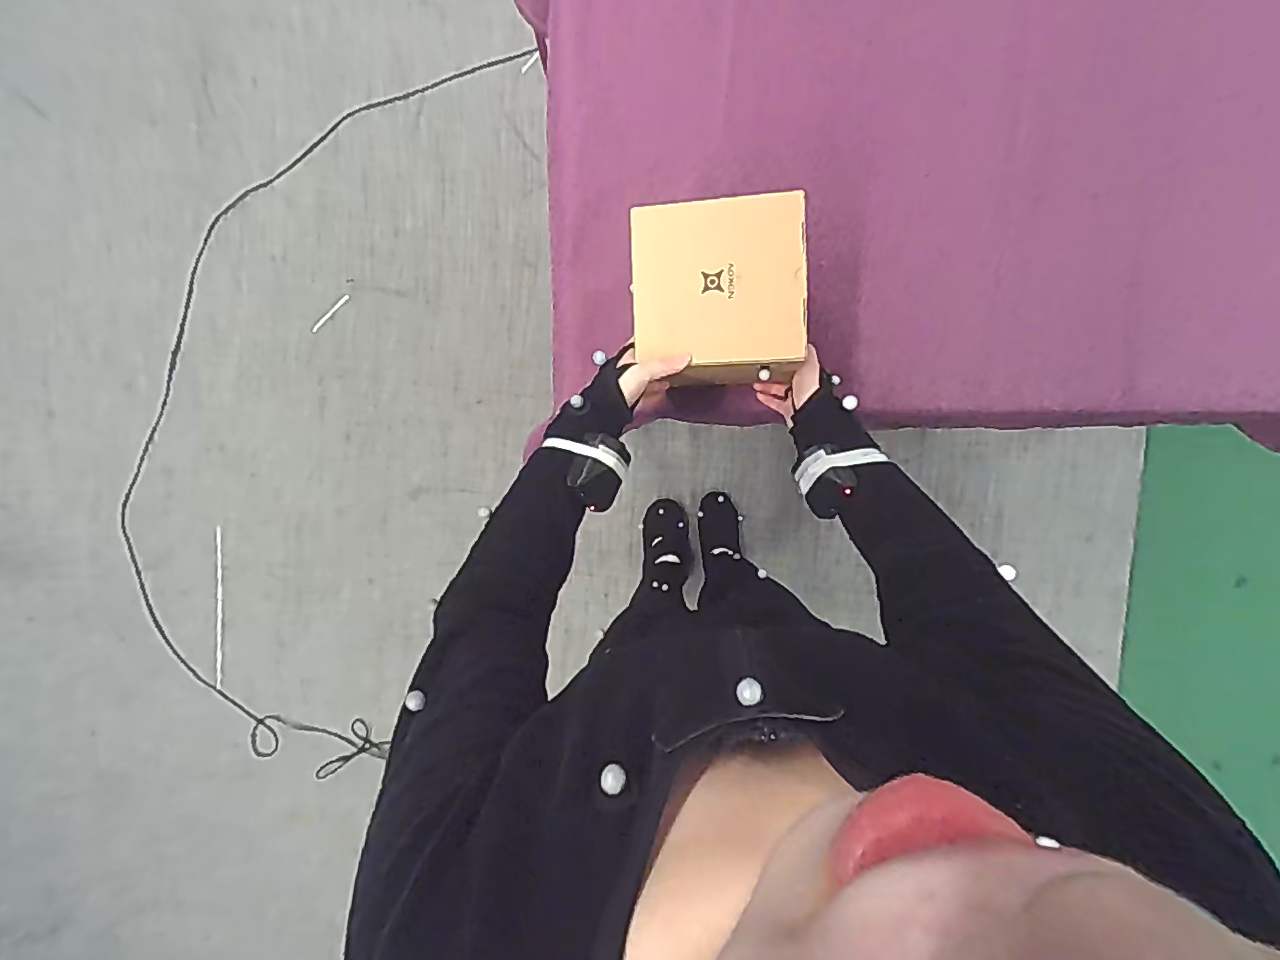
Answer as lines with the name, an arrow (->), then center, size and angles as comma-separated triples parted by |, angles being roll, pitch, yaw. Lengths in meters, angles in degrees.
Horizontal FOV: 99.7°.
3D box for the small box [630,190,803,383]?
small box -> 0.089, -0.208, 0.629 | 0.179, 0.176, 0.168 | -1, 93, 8
